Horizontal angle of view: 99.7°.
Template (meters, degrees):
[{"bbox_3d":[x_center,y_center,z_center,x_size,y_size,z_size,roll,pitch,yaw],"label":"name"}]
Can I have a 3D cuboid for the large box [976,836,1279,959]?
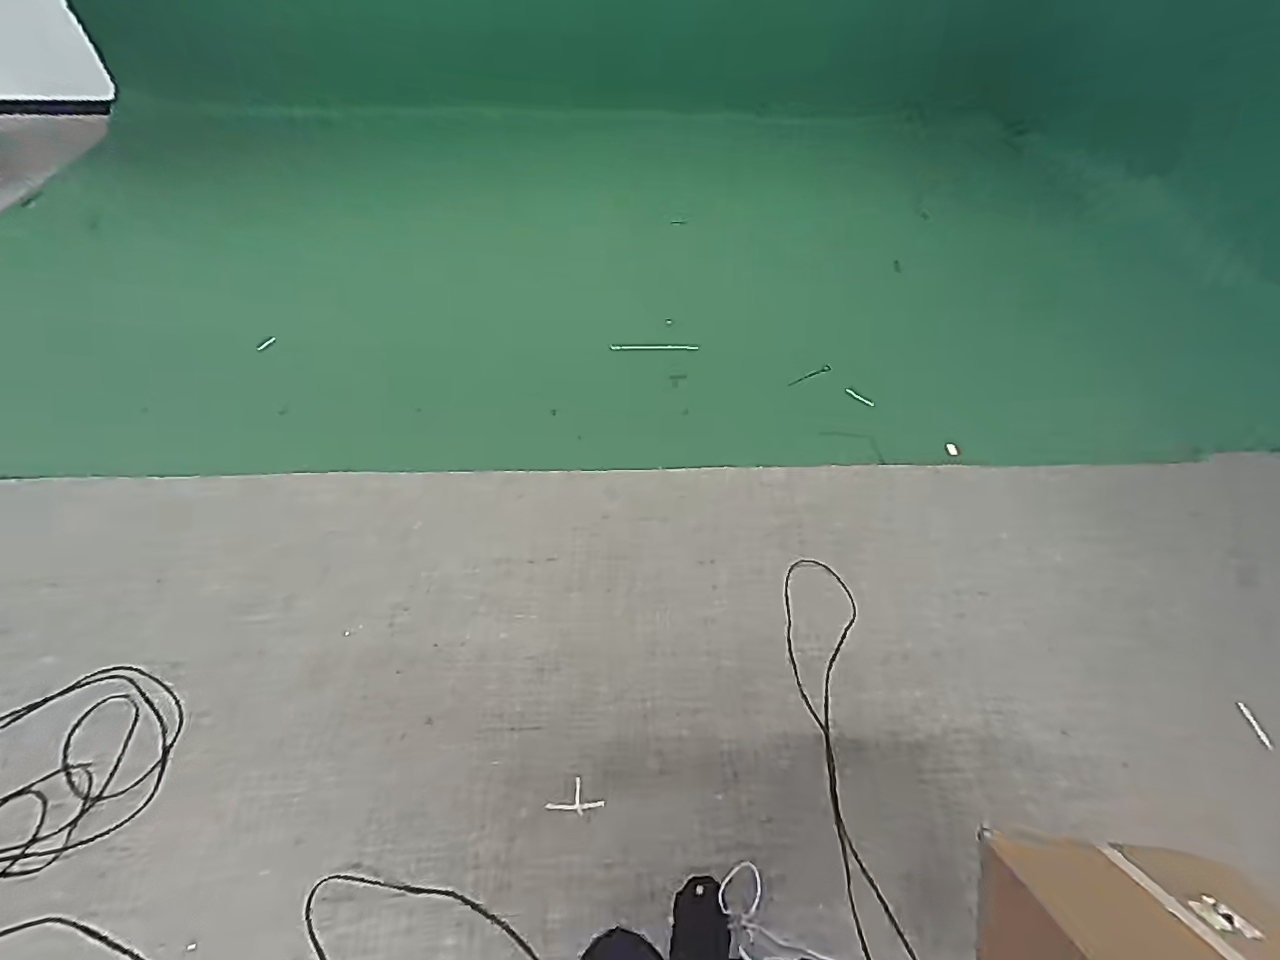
[{"bbox_3d":[0.617,0.668,0.573,0.320,0.408,0.320,4,87,6],"label":"large box"}]
